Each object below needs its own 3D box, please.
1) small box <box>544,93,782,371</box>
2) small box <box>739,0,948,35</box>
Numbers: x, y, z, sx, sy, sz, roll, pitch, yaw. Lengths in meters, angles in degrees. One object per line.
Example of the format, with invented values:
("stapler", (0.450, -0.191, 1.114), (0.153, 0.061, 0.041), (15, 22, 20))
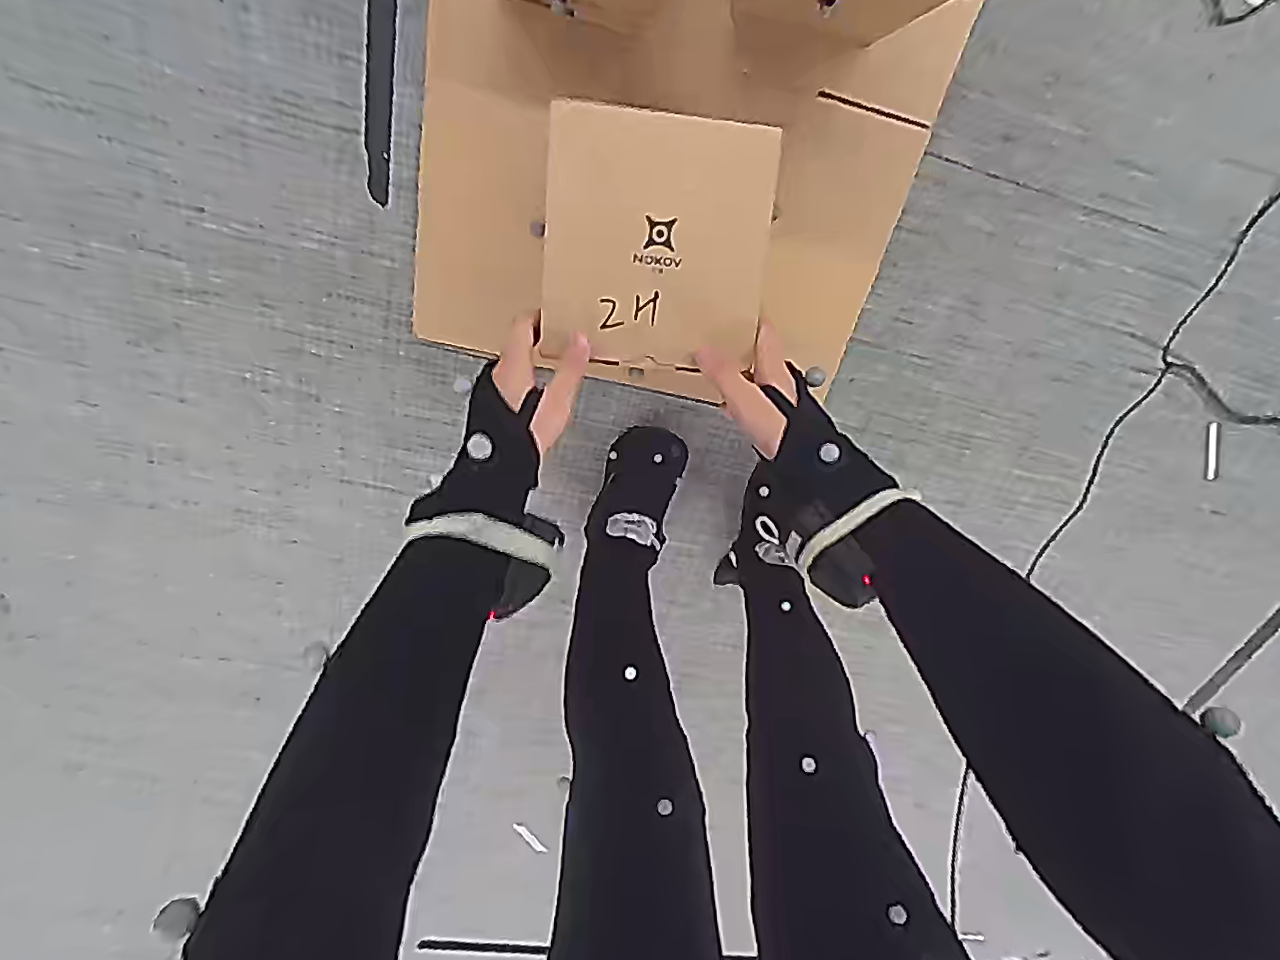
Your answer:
("small box", (0.009, -0.189, 0.467), (0.168, 0.176, 0.179), (2, 101, -4))
("small box", (0.209, -0.555, 0.510), (0.179, 0.176, 0.168), (7, 116, -8))
